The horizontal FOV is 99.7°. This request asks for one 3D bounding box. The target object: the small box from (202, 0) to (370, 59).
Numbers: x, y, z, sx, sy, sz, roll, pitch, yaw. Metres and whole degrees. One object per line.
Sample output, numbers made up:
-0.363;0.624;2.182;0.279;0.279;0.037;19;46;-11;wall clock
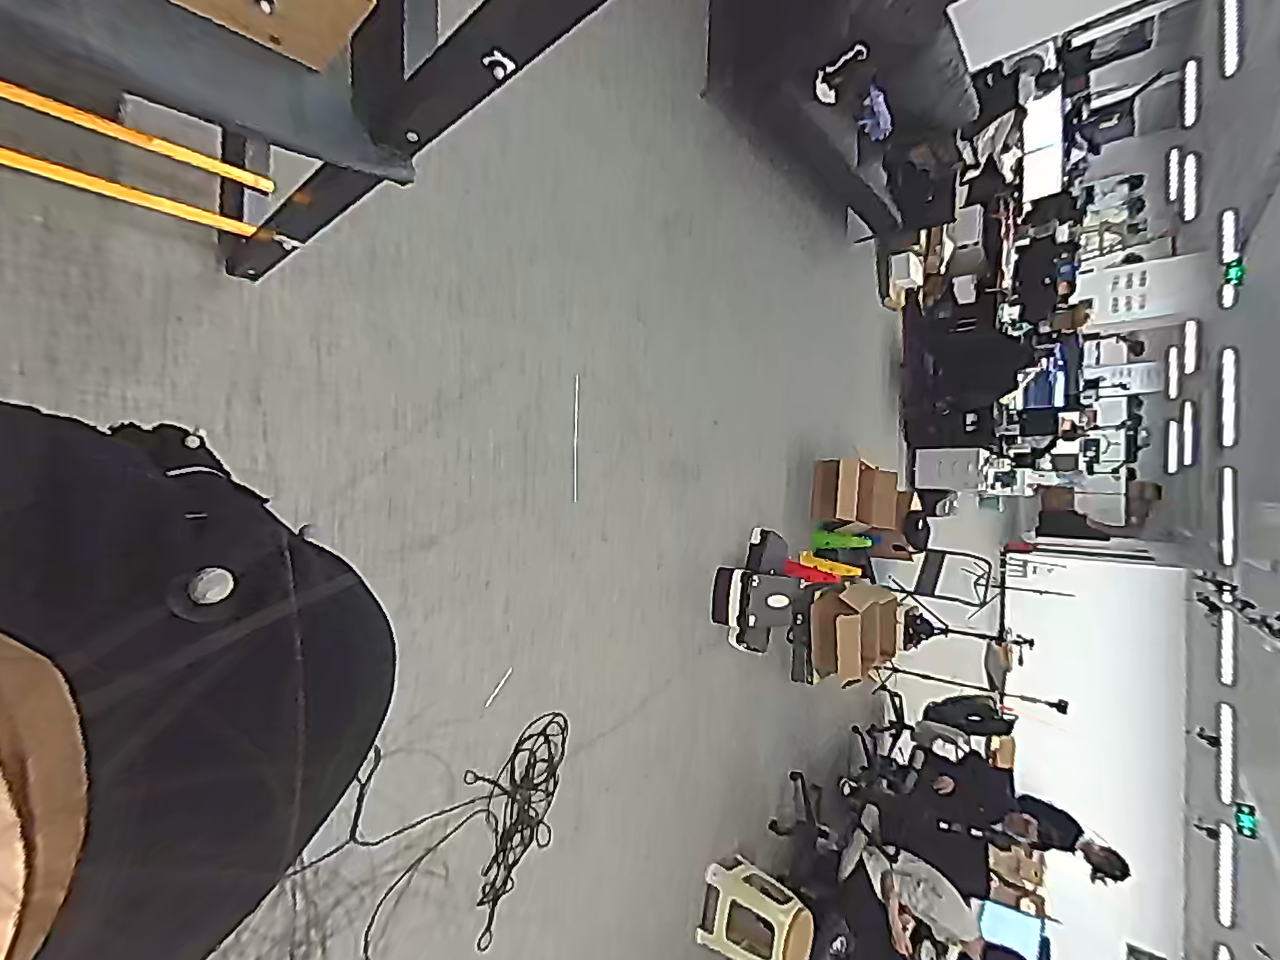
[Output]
-0.418;-0.633;0.607;0.168;0.176;0.179;-4;94;-50;small box
